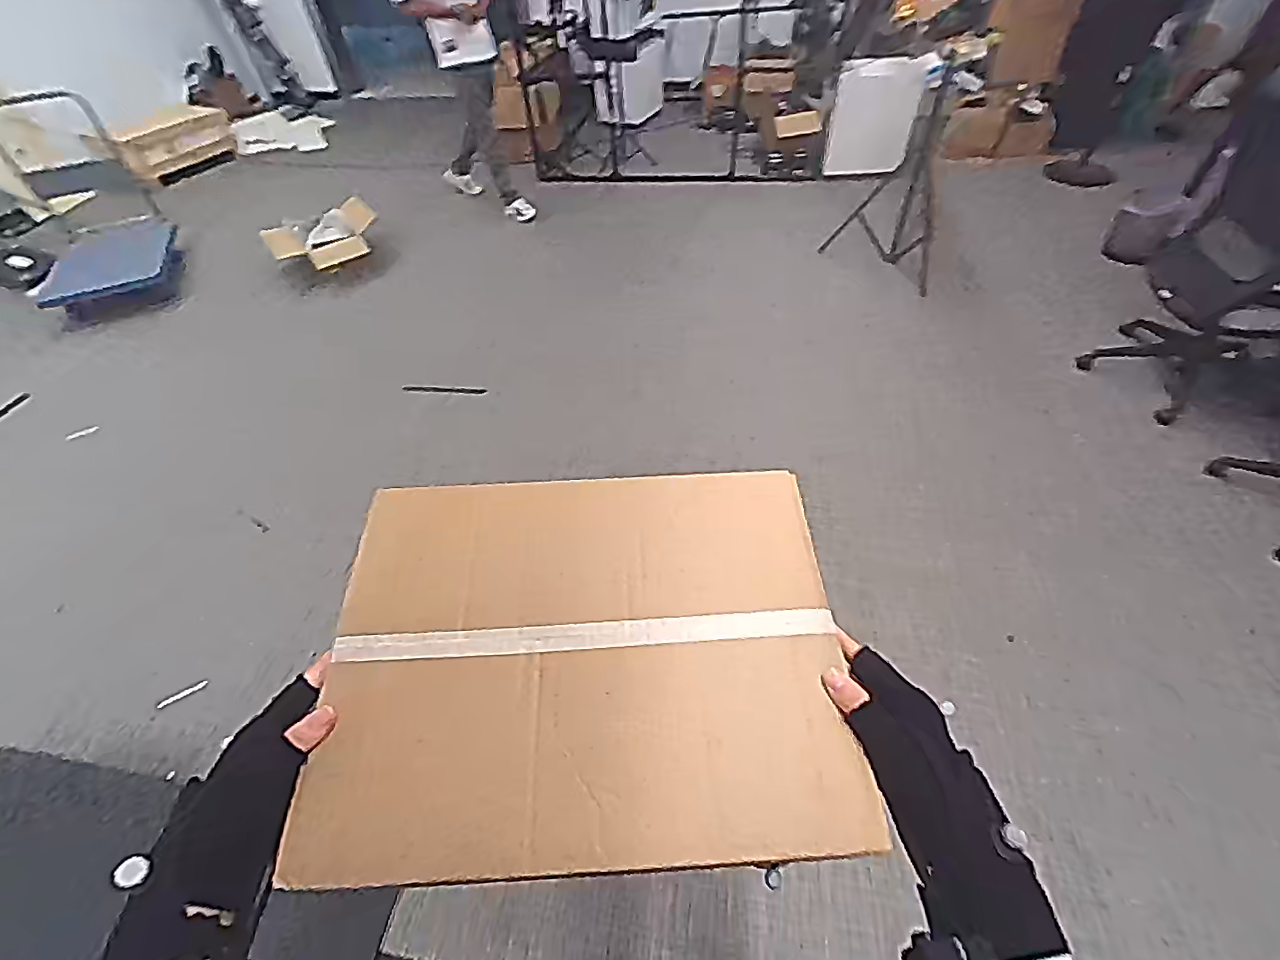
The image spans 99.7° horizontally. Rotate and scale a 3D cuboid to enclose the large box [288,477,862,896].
[{"bbox_3d":[-0.049,0.220,0.575,0.408,0.320,0.320,-4,54,-2],"label":"large box"}]
